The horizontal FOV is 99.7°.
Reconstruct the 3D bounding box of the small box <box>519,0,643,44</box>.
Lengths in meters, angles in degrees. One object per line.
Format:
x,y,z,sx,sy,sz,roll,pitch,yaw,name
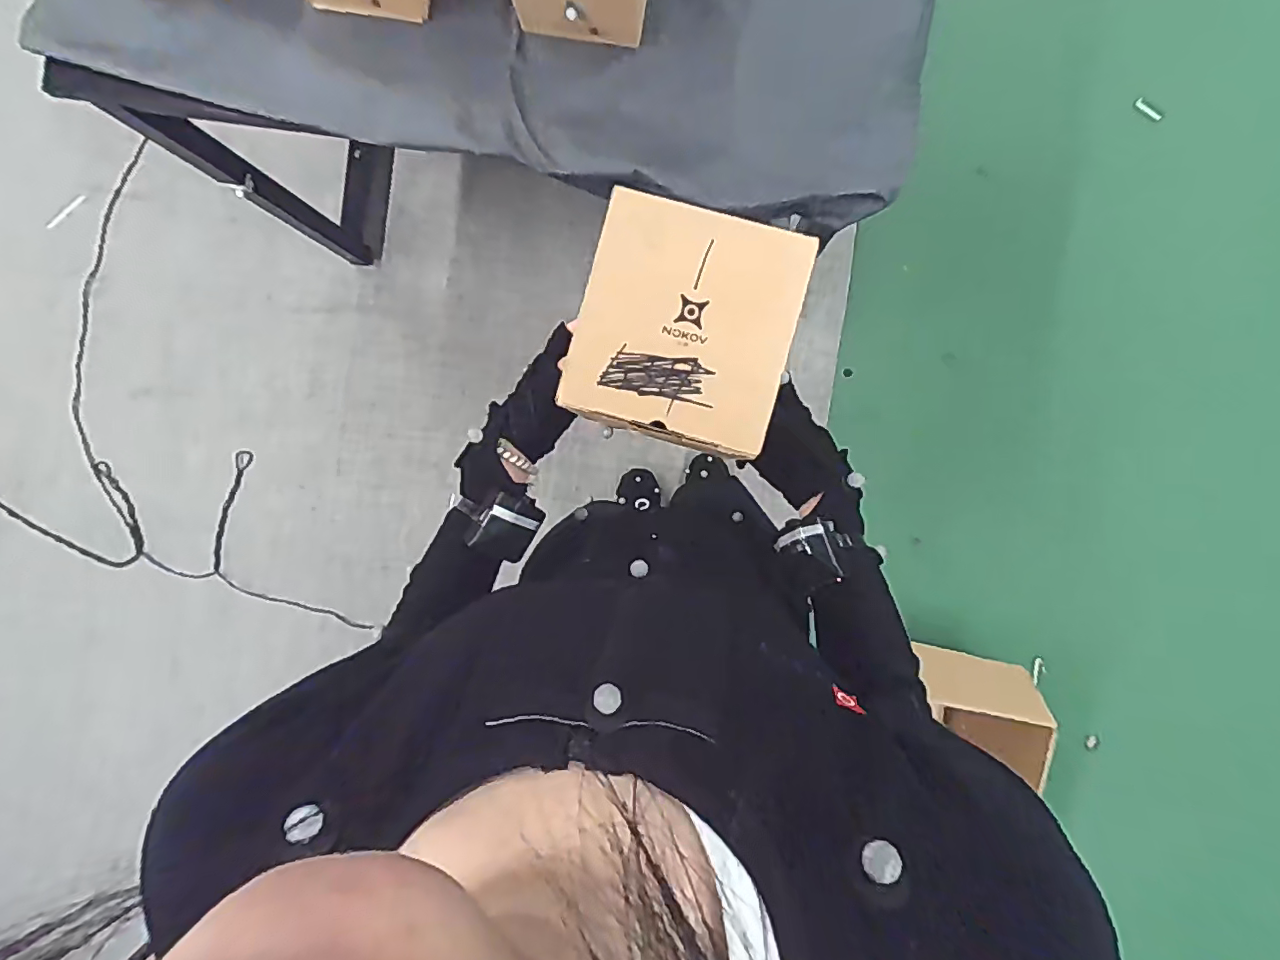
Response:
-0.073,-0.688,0.653,0.168,0.176,0.179,10,93,2,small box

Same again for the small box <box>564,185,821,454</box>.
0.042,-0.127,0.499,0.168,0.176,0.179,15,92,1,small box

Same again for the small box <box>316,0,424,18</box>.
-0.368,-0.732,0.664,0.168,0.176,0.179,9,93,1,small box
